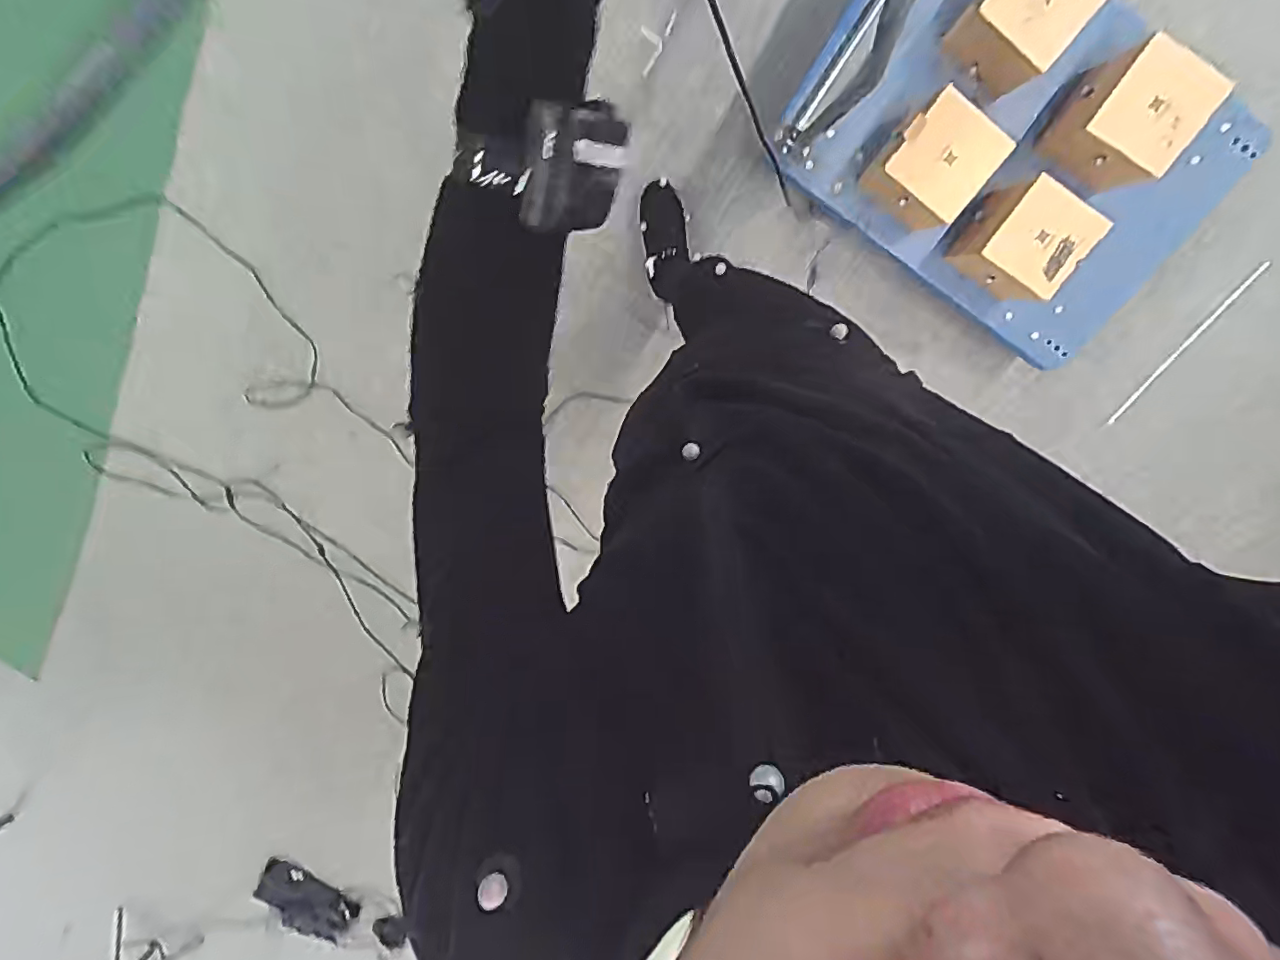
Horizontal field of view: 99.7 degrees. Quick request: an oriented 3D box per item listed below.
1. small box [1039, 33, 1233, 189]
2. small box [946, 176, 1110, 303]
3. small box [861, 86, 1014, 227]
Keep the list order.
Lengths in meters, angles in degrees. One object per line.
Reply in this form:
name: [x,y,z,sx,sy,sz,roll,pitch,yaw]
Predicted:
small box: [0.924,-0.683,1.030,0.179,0.176,0.168,30,110,-6]
small box: [0.785,-0.488,1.114,0.179,0.176,0.168,32,109,-6]
small box: [0.583,-0.631,1.084,0.179,0.176,0.168,35,109,-7]
